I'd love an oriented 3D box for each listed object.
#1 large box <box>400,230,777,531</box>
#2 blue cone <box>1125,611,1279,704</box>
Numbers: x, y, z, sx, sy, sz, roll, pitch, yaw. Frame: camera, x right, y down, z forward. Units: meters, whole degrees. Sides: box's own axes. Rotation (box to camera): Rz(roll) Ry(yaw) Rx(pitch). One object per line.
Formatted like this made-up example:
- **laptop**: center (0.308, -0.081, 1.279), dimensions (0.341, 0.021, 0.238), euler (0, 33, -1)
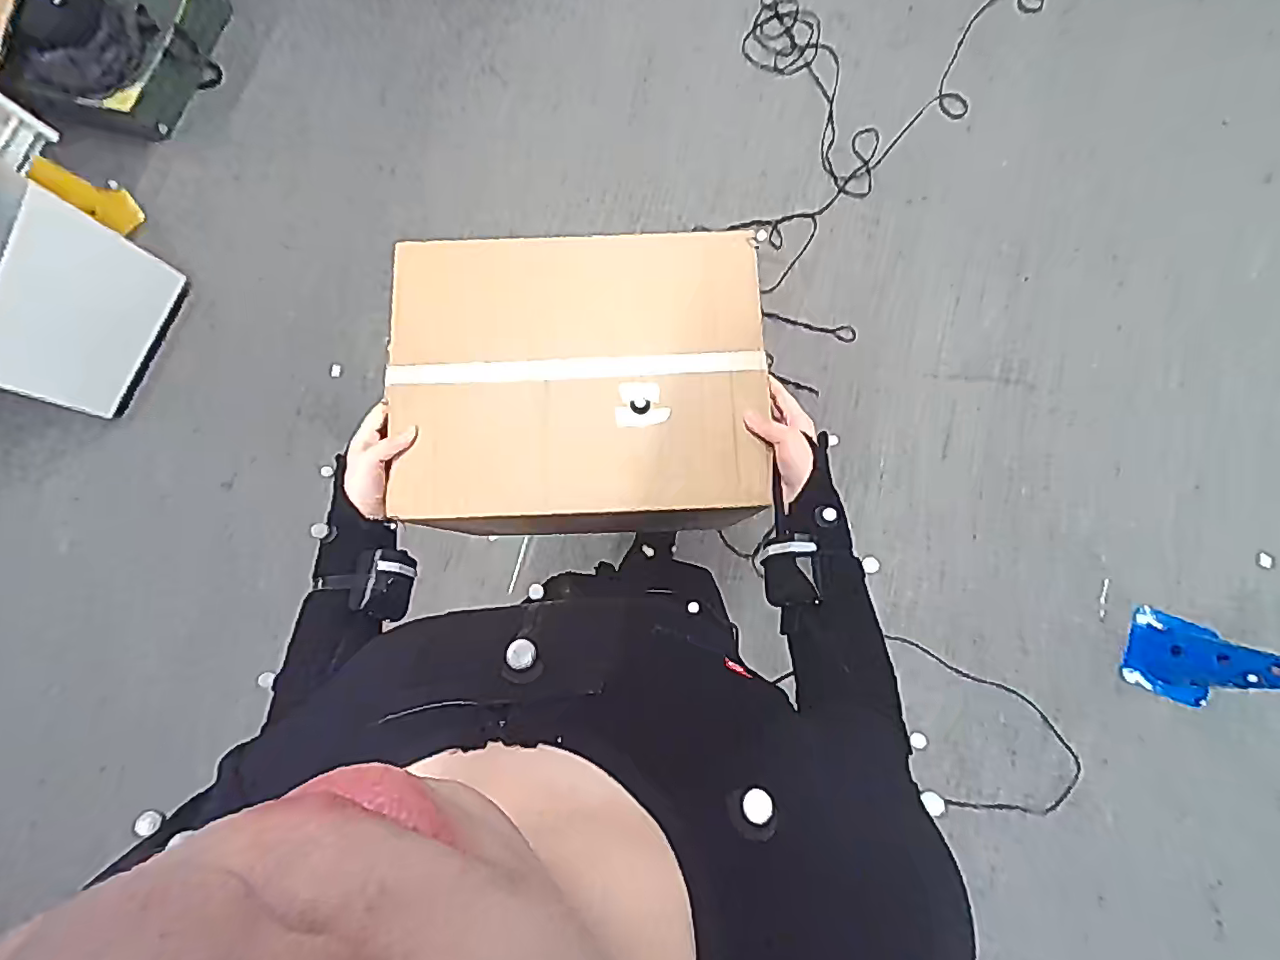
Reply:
- **large box**: center (-0.063, -0.104, 0.736), dimensions (0.408, 0.320, 0.320), euler (-2, 81, -2)
- **blue cone**: center (1.320, 0.411, 1.198), dimensions (0.192, 0.380, 0.193), euler (23, 81, 8)
